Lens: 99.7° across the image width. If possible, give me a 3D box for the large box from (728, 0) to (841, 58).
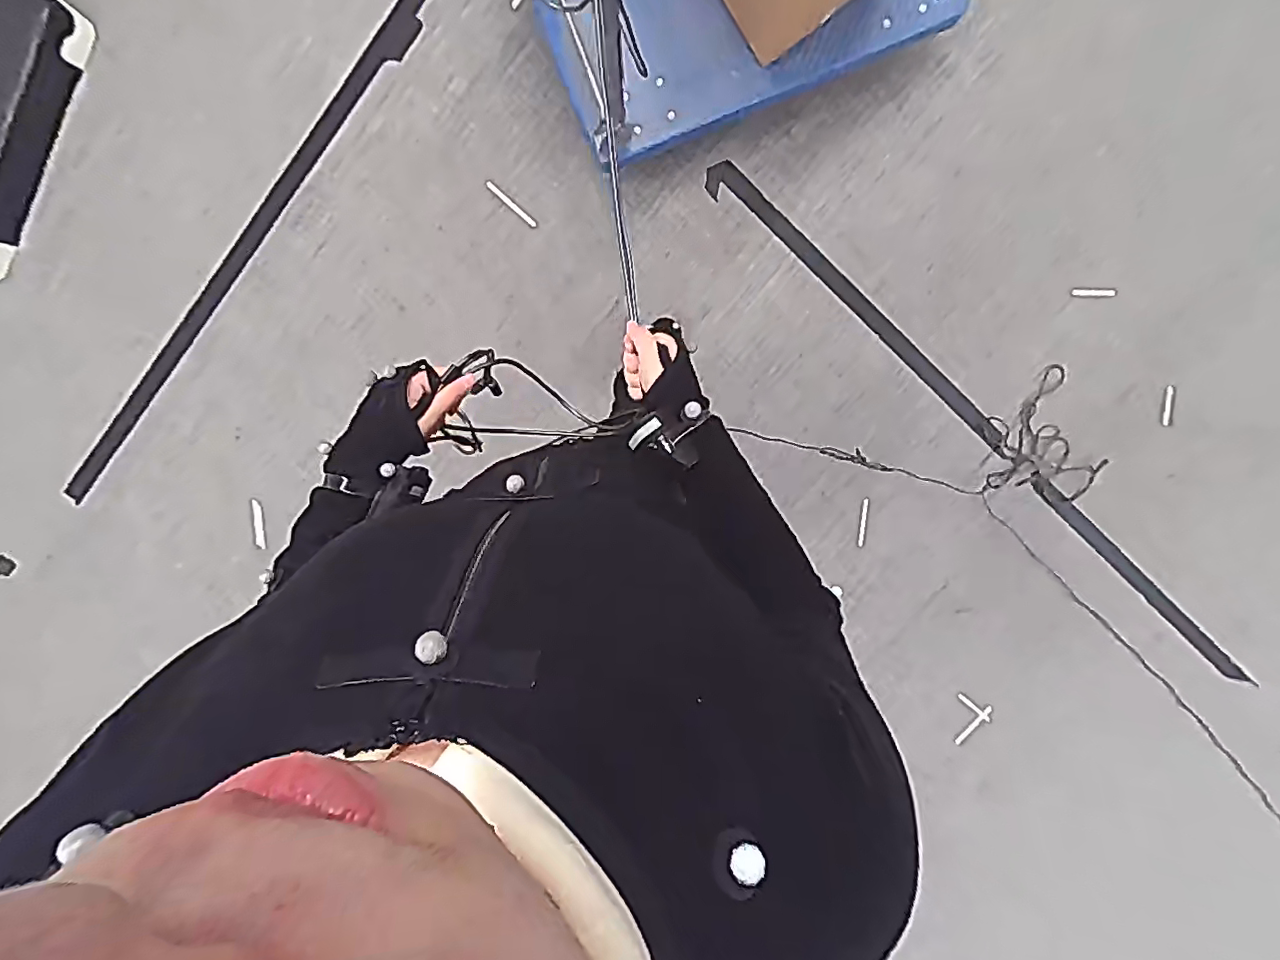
[{"bbox_3d":[0.274,-1.107,0.960,0.320,0.320,0.408,-37,101,5],"label":"large box"}]
